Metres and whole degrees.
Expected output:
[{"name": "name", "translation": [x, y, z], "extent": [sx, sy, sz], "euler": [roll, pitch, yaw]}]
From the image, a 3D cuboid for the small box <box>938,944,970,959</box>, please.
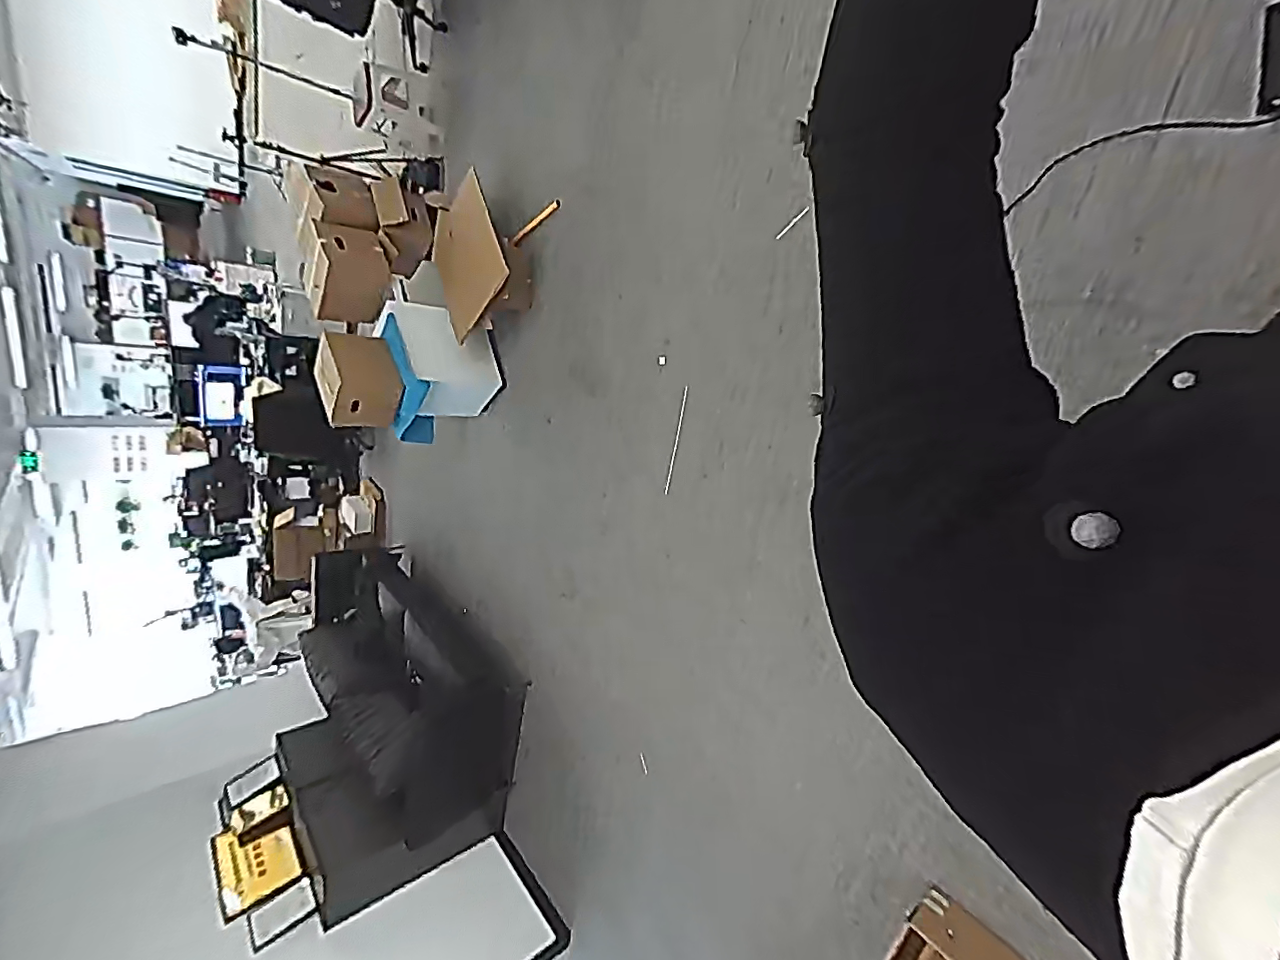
[{"name": "small box", "translation": [0.882, 1.453, 1.492], "extent": [0.168, 0.176, 0.179], "euler": [27, 114, 42]}]
